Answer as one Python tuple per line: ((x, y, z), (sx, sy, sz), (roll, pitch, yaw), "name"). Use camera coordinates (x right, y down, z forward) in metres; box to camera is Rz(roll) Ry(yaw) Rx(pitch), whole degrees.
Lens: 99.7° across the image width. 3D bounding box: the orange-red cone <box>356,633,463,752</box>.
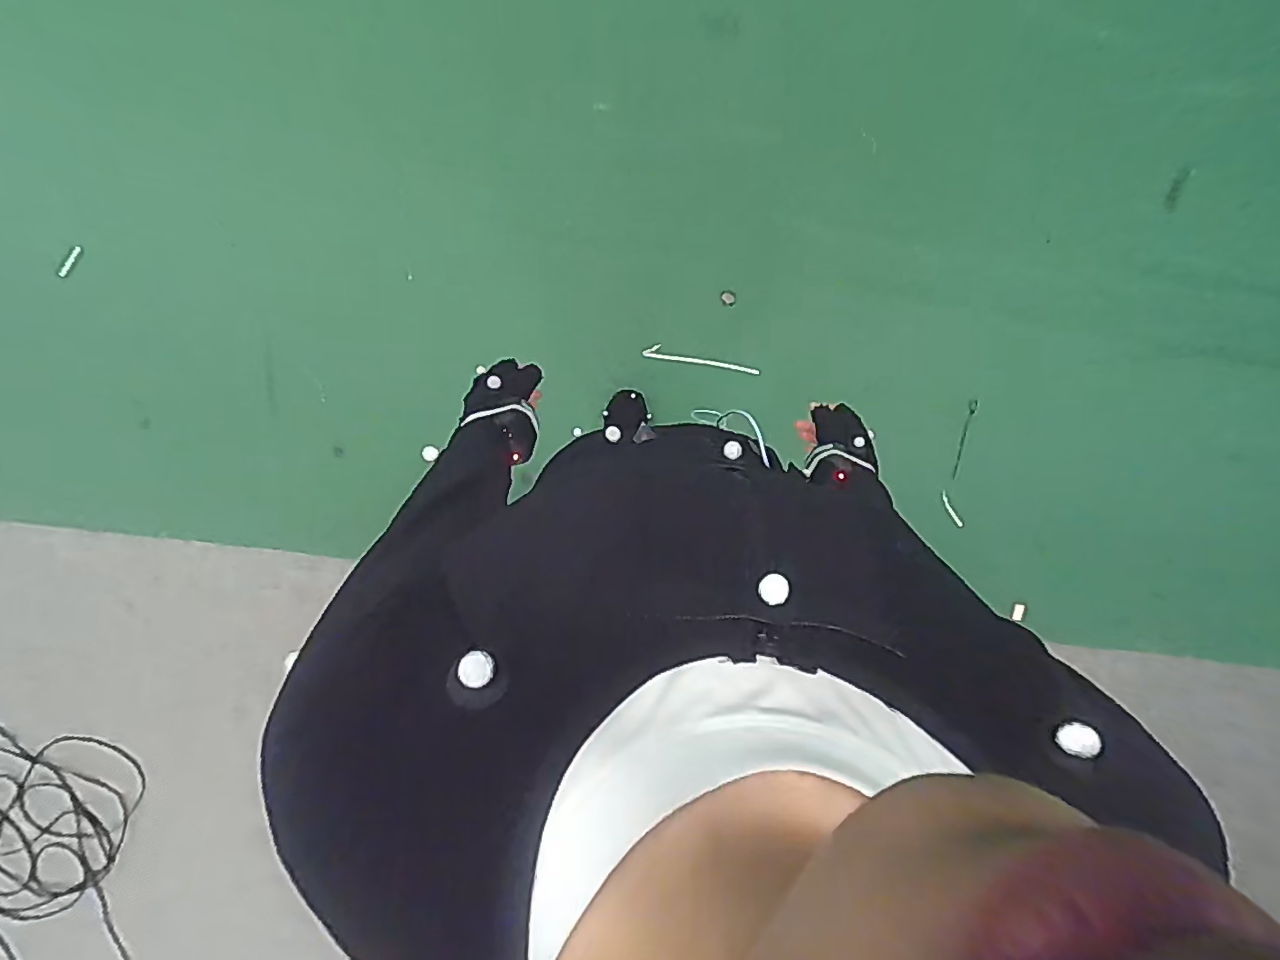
((-0.587, 0.545, 1.320), (0.198, 0.360, 0.199), (8, 96, -2), "orange-red cone")
